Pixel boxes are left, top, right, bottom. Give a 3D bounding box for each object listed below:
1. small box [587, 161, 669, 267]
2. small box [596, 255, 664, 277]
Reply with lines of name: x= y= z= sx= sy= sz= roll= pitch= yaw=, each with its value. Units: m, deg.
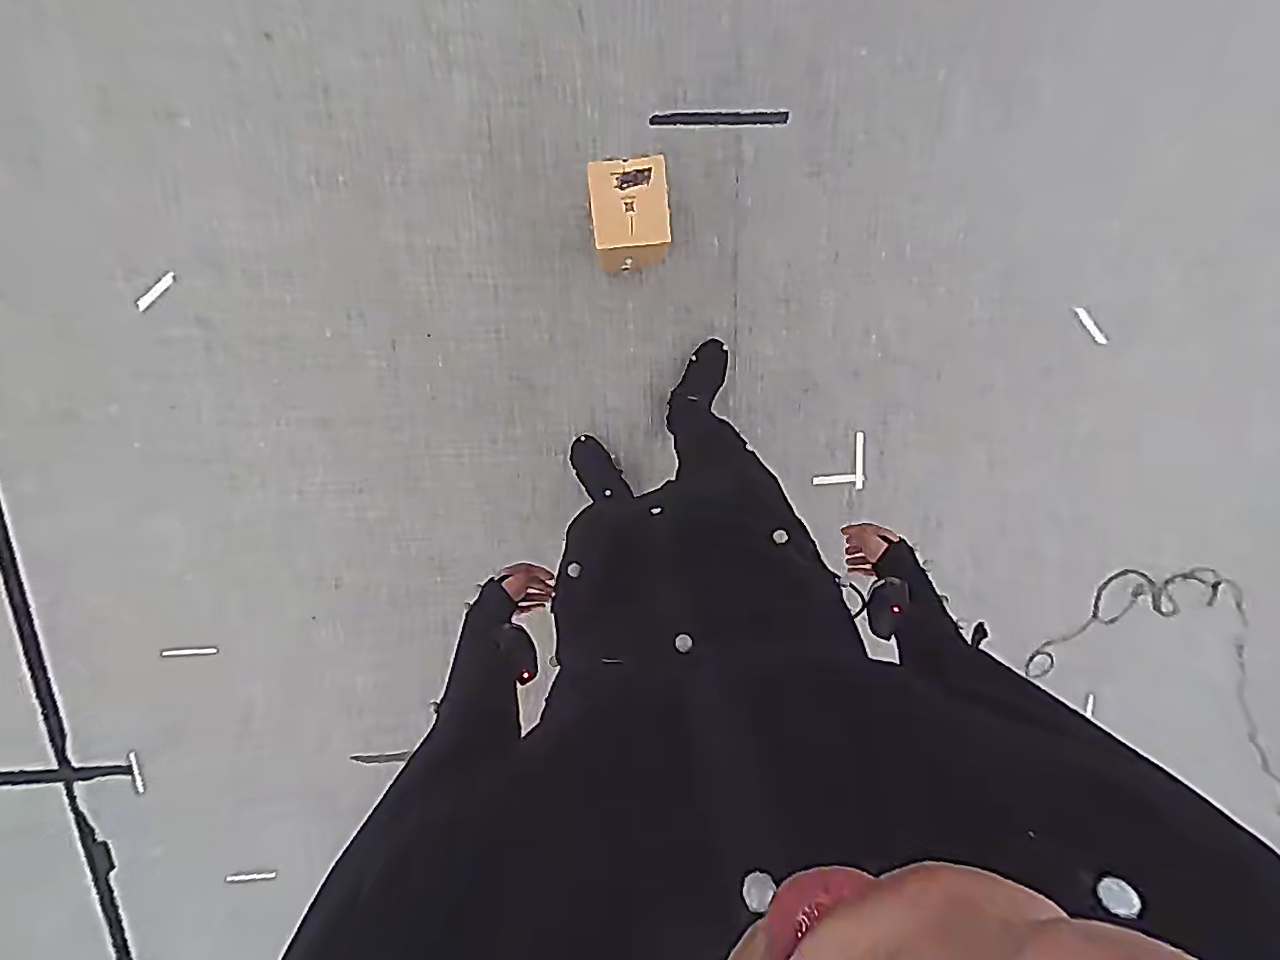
small box: x=-0.031 y=-0.597 z=1.229 sx=0.168 sy=0.176 sz=0.179 roll=-6 pitch=103 yaw=-3
small box: x=-0.037 y=-0.635 z=1.388 sx=0.168 sy=0.176 sz=0.179 roll=-8 pitch=102 yaw=-3
